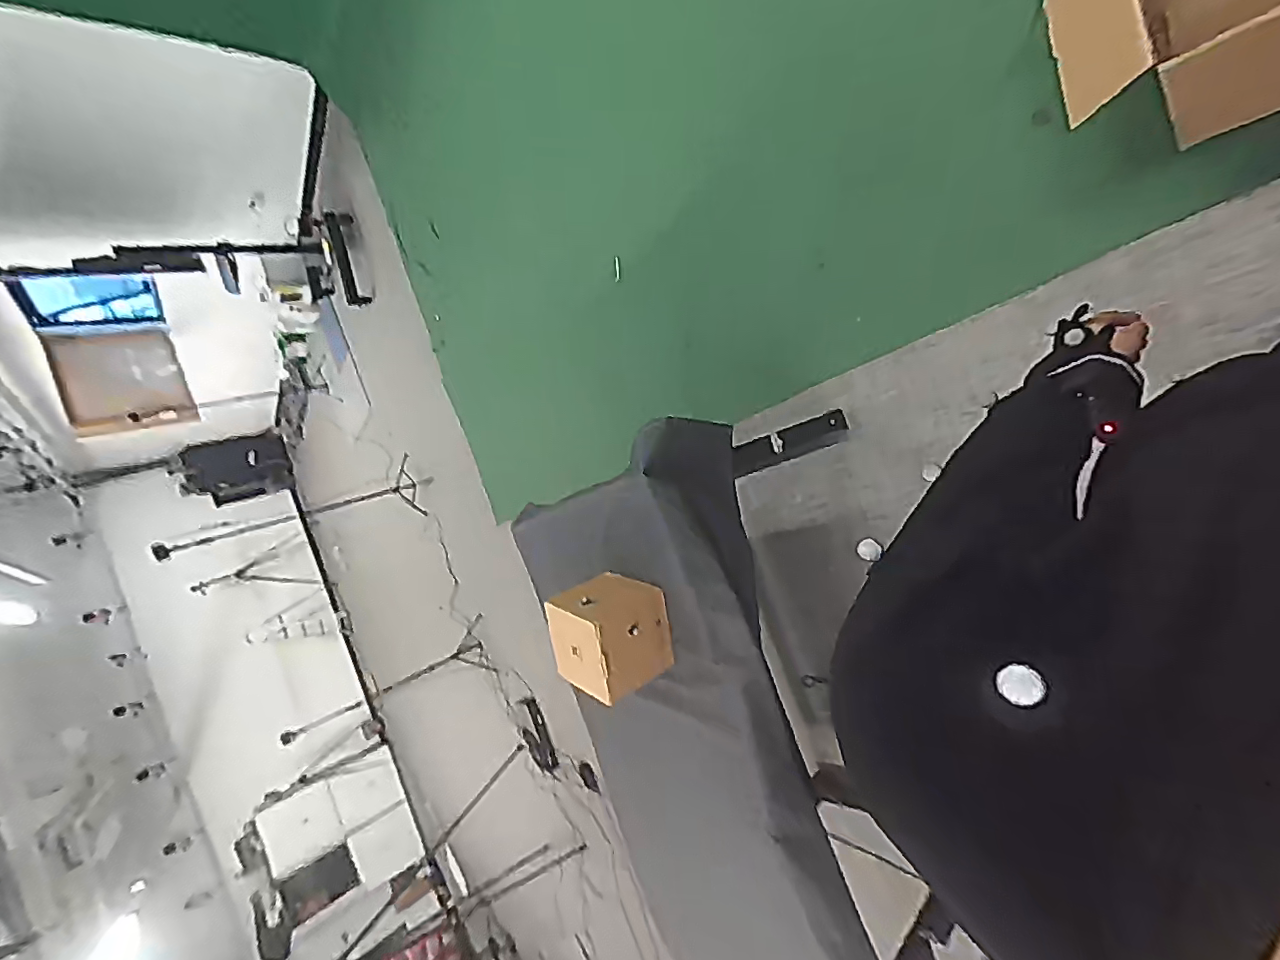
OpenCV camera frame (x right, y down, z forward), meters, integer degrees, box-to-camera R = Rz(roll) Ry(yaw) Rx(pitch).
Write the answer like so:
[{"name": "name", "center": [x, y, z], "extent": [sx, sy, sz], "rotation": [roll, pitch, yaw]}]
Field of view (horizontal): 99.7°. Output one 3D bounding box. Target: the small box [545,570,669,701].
[{"name": "small box", "center": [-0.057, 0.291, 1.058], "extent": [0.179, 0.176, 0.168], "rotation": [6, 109, 50]}]
